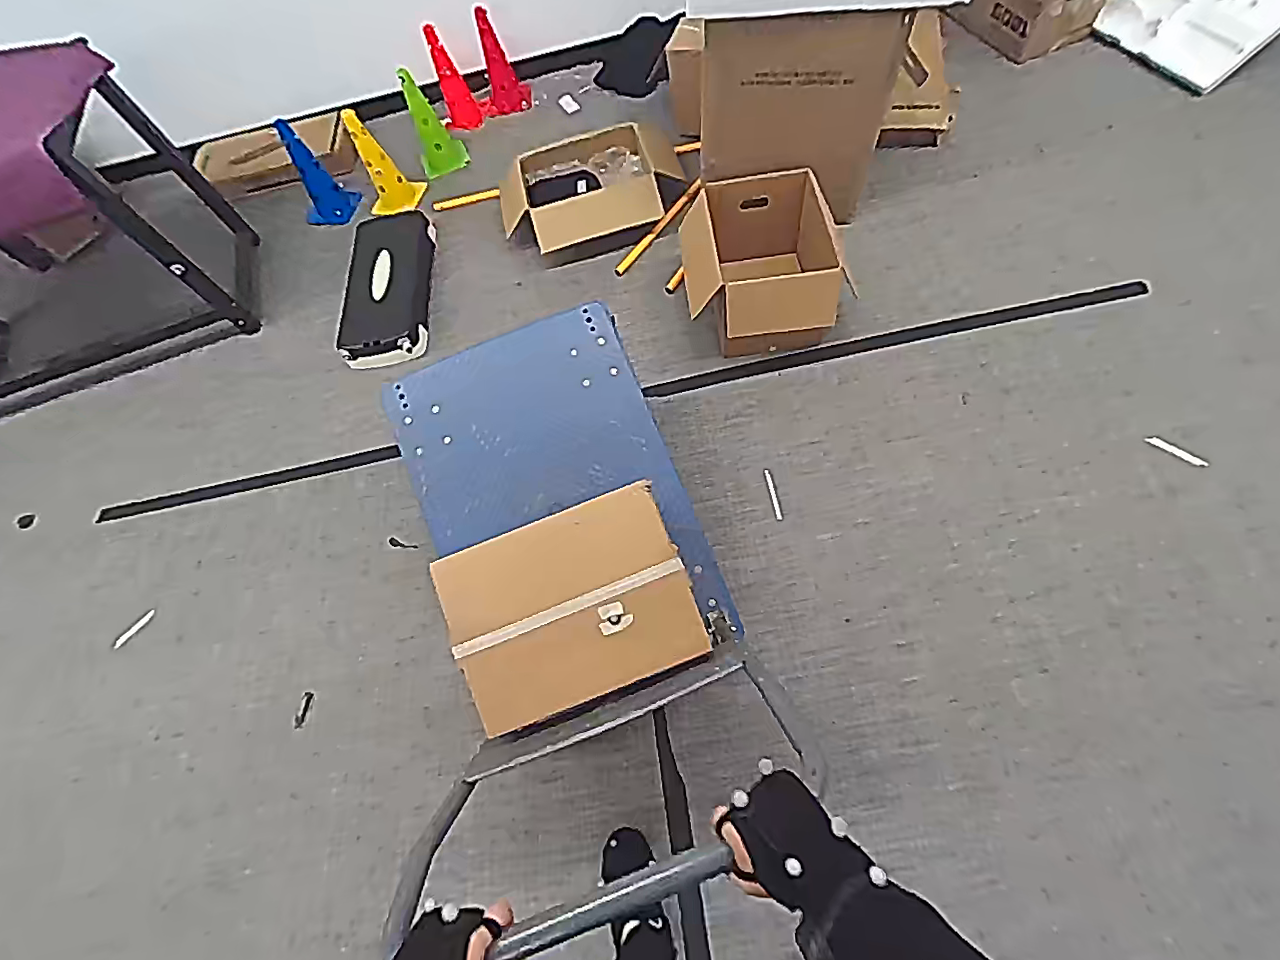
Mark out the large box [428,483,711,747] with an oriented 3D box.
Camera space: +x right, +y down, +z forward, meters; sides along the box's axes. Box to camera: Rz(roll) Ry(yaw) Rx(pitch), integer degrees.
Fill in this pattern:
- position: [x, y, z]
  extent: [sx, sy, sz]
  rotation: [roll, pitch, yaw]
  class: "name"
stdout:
- position: [-0.120, 0.241, 1.047]
  extent: [0.408, 0.320, 0.320]
  rotation: [-22, 83, -3]
  class: "large box"
